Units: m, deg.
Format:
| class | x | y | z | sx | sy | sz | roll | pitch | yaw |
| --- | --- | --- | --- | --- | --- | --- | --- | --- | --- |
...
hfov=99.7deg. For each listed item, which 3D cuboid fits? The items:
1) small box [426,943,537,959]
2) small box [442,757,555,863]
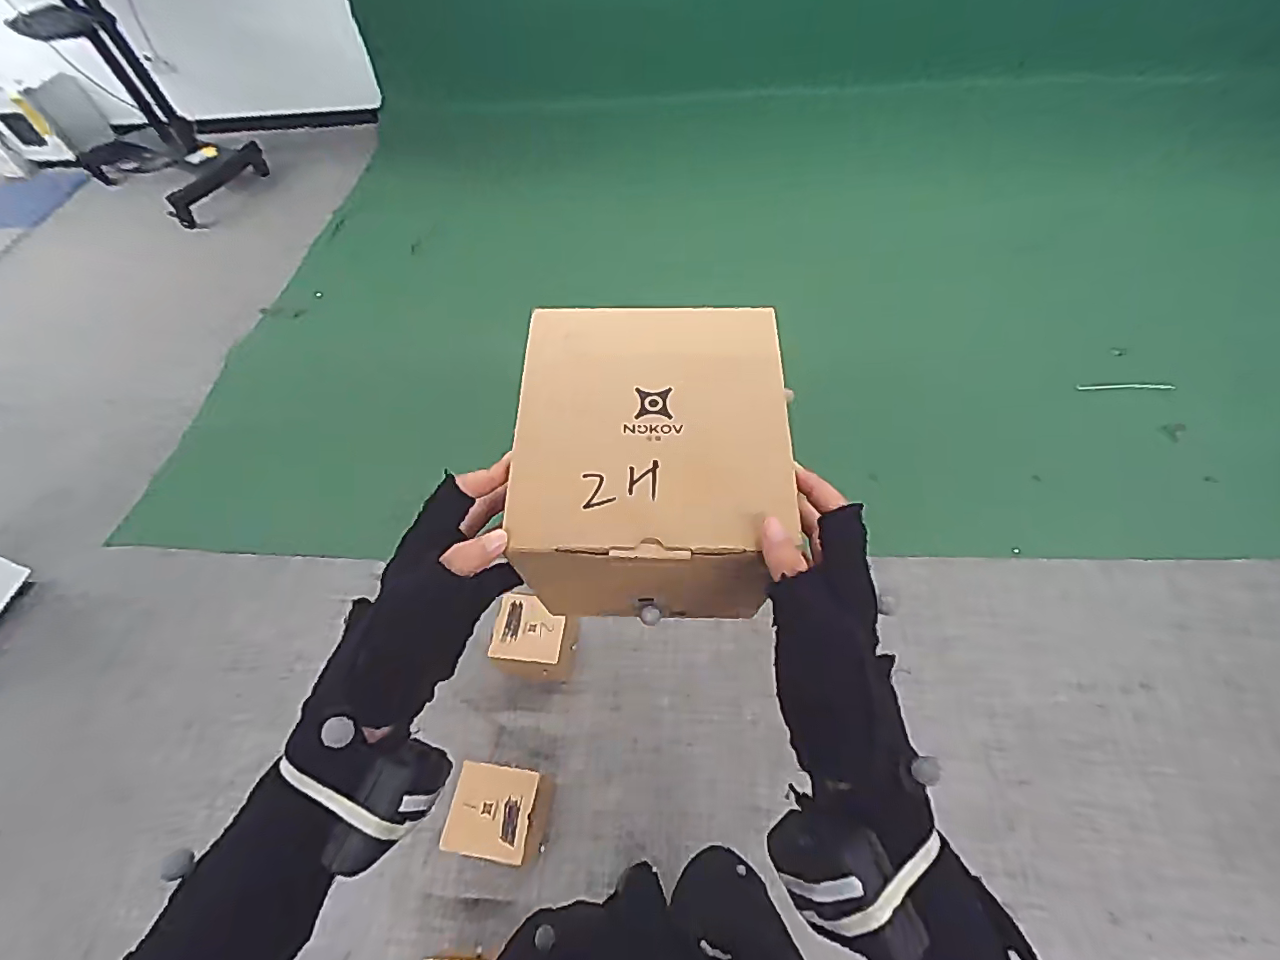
| class | x | y | z | sx | sy | sz | roll | pitch | yaw |
| --- | --- | --- | --- | --- | --- | --- | --- | --- | --- |
| small box | -0.304 | 0.980 | 1.003 | 0.179 | 0.176 | 0.168 | 0 | 56 | 4 |
| small box | -0.296 | 0.720 | 1.181 | 0.179 | 0.176 | 0.168 | 5 | 55 | 9 |
